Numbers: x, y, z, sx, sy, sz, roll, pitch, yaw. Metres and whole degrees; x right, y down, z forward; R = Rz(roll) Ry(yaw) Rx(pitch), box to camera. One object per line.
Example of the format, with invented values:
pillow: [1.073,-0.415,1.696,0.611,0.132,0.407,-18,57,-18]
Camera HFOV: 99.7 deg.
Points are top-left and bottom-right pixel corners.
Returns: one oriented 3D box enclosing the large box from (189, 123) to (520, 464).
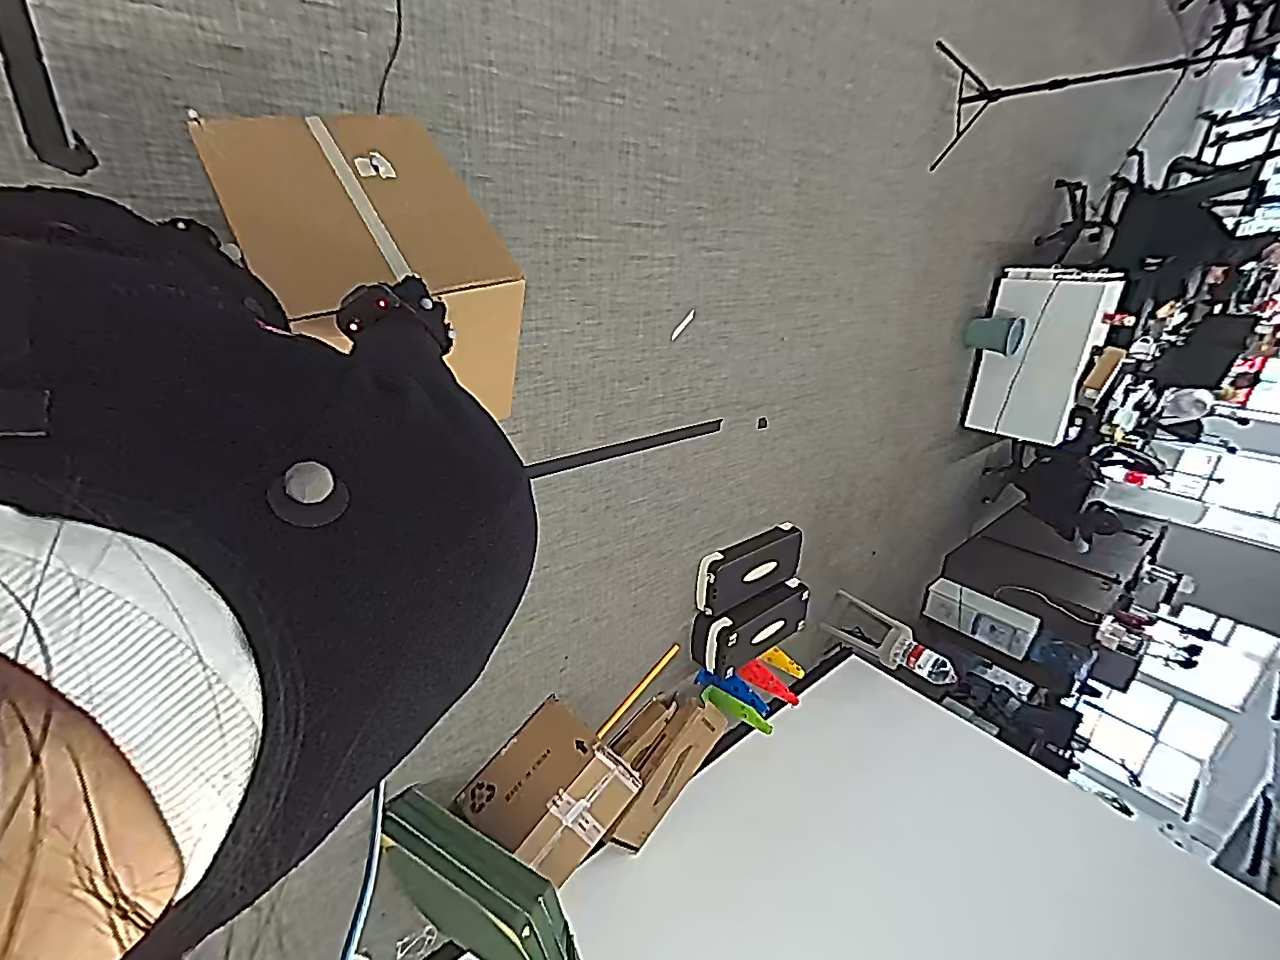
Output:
large box: [-0.434,-0.303,0.878,0.320,0.408,0.320,-23,158,-30]
